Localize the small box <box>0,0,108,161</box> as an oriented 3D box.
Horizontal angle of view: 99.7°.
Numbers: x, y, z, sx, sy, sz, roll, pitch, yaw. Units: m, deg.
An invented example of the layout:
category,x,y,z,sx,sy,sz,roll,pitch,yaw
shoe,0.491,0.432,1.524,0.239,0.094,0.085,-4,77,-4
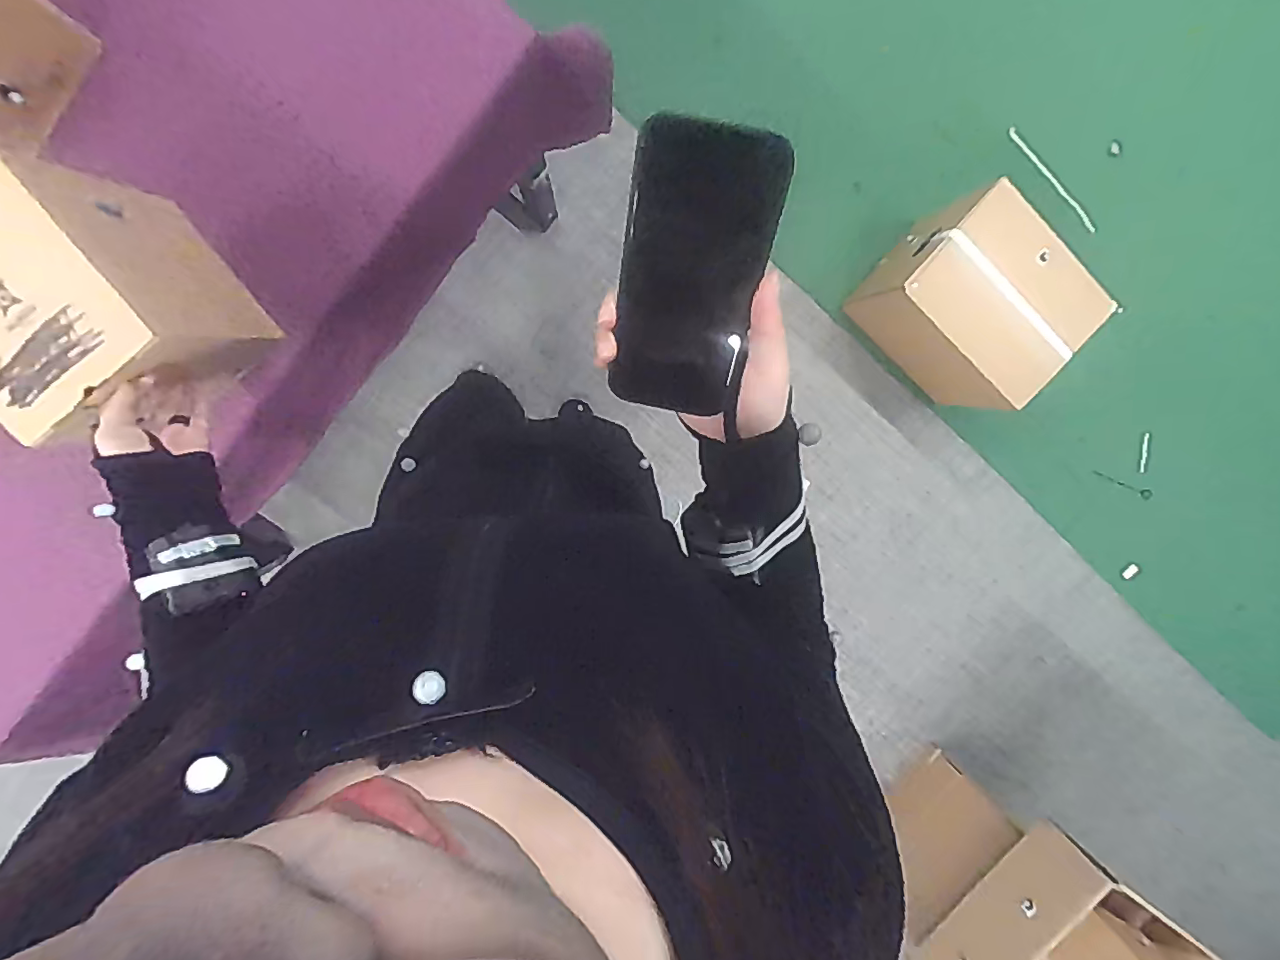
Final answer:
category,x,y,z,sx,sy,sz,roll,pitch,yaw
small box,-0.708,-0.459,0.528,0.179,0.176,0.168,38,95,-11
